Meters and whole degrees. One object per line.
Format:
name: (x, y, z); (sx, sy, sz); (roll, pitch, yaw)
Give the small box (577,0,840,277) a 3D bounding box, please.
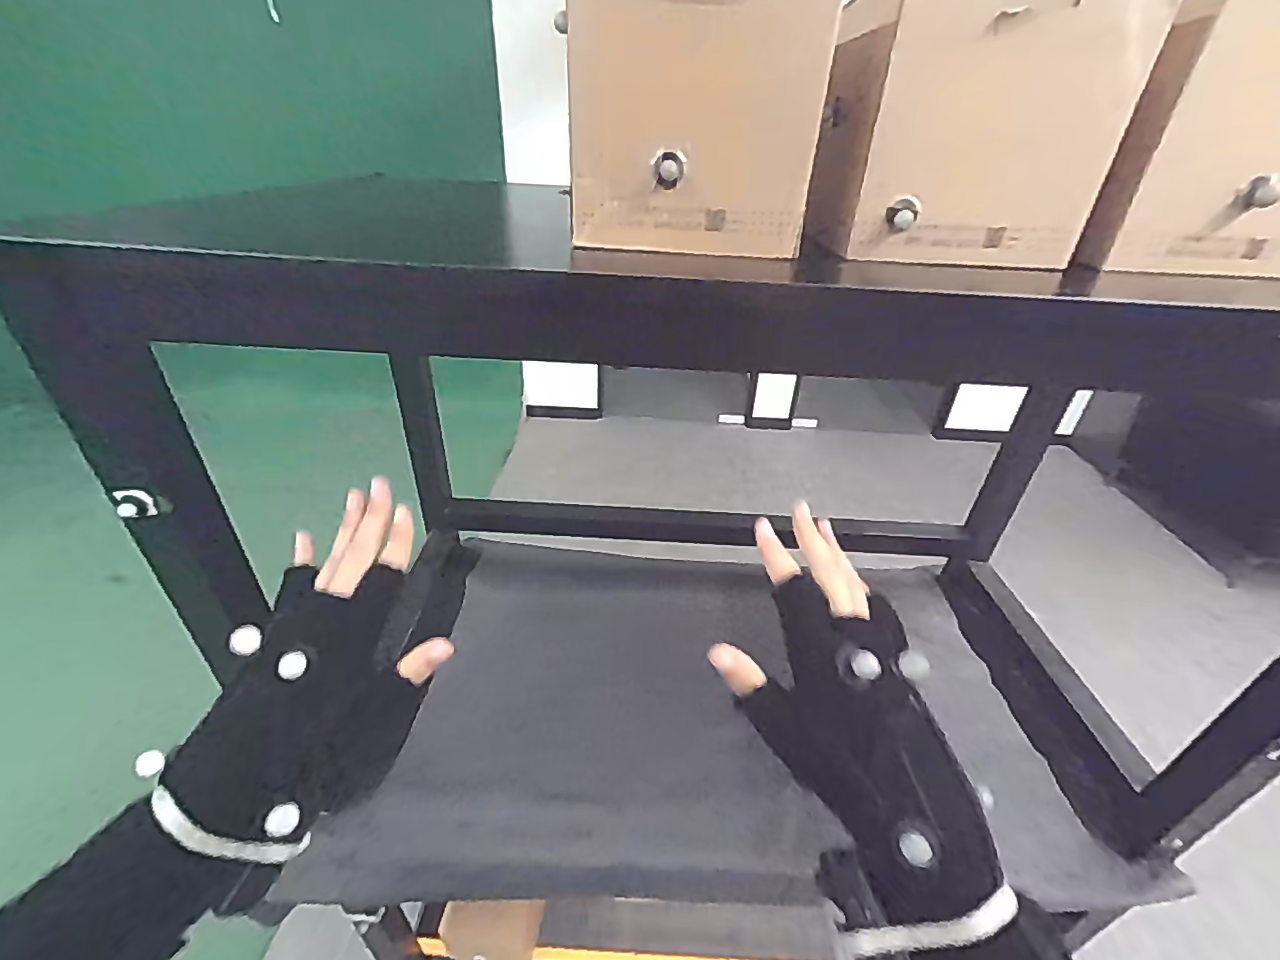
small box: (0.041, -0.275, 0.440); (0.168, 0.176, 0.179); (4, 32, 1)
